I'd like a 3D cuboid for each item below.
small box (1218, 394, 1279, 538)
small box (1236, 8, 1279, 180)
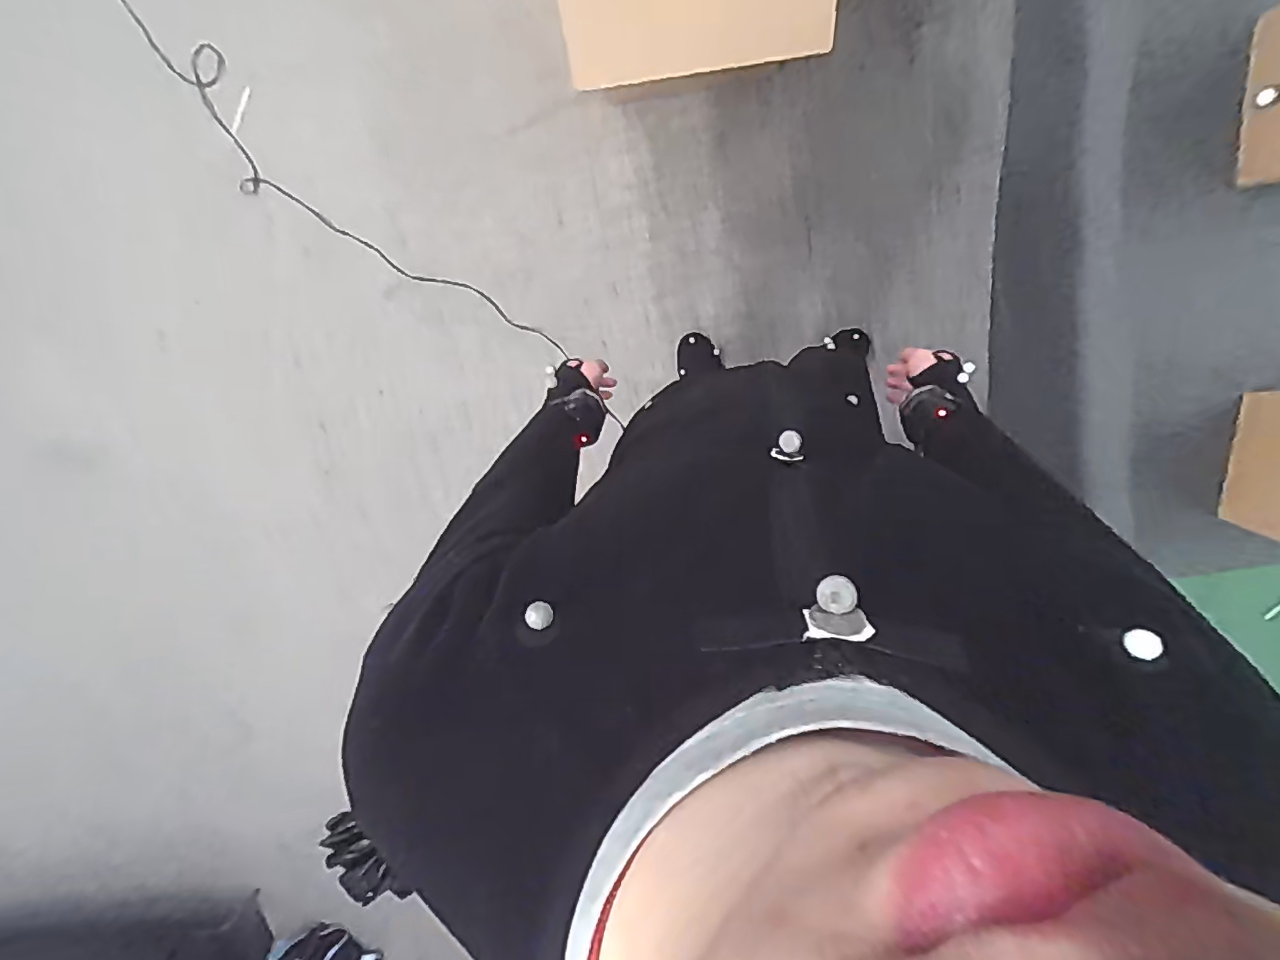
[{"bbox_3d":[0.866,-0.011,0.647,0.168,0.176,0.179,-3,107,7],"label":"small box"},{"bbox_3d":[0.765,-0.415,0.536,0.168,0.176,0.179,-7,107,8],"label":"small box"}]
